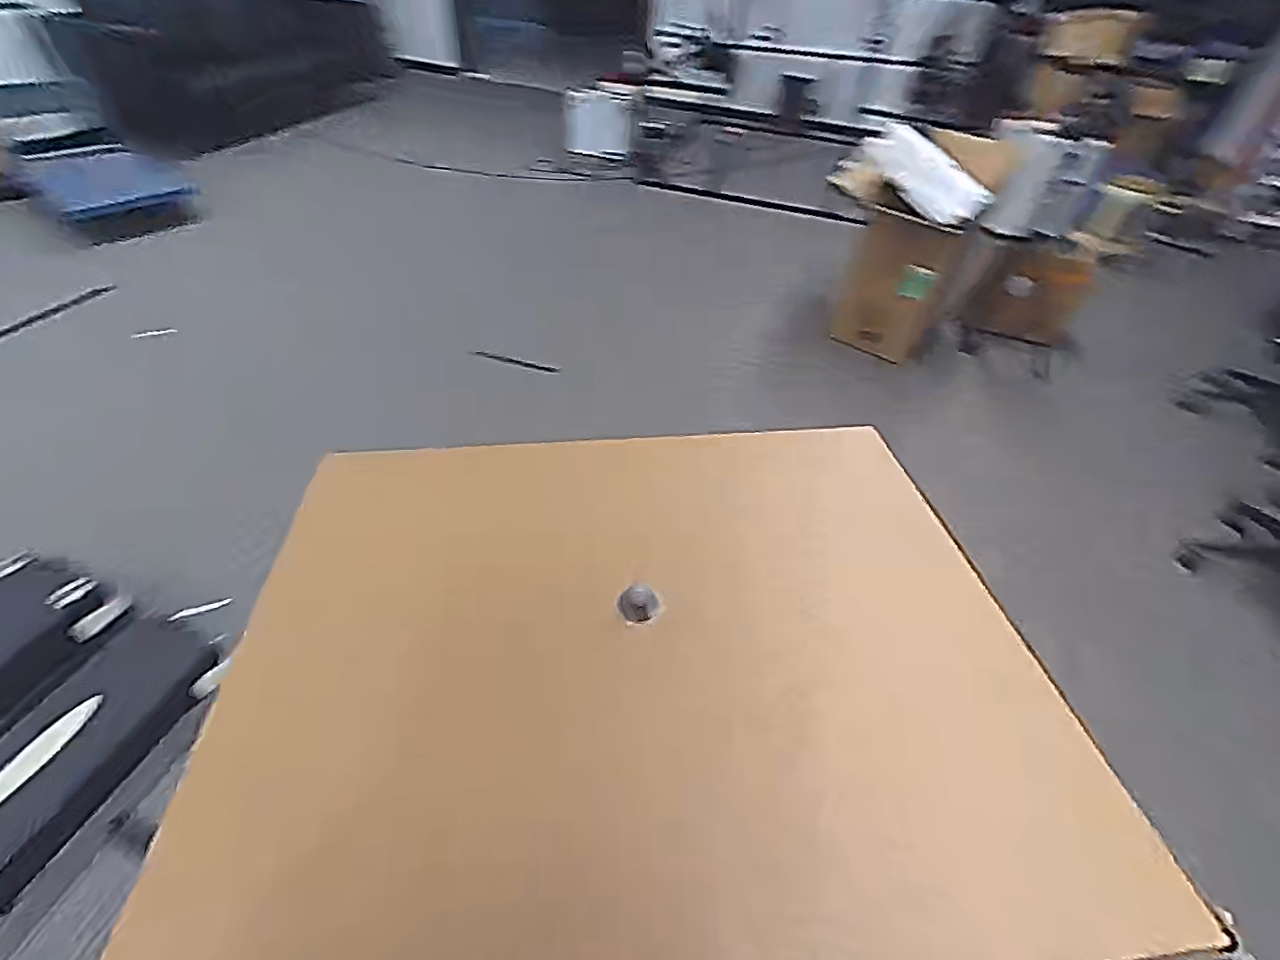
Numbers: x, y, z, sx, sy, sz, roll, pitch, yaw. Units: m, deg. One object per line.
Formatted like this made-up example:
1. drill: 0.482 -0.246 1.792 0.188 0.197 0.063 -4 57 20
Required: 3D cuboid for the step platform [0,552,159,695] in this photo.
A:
1. step platform: -1.525 0.481 1.199 0.286 0.204 0.684 20 47 14
